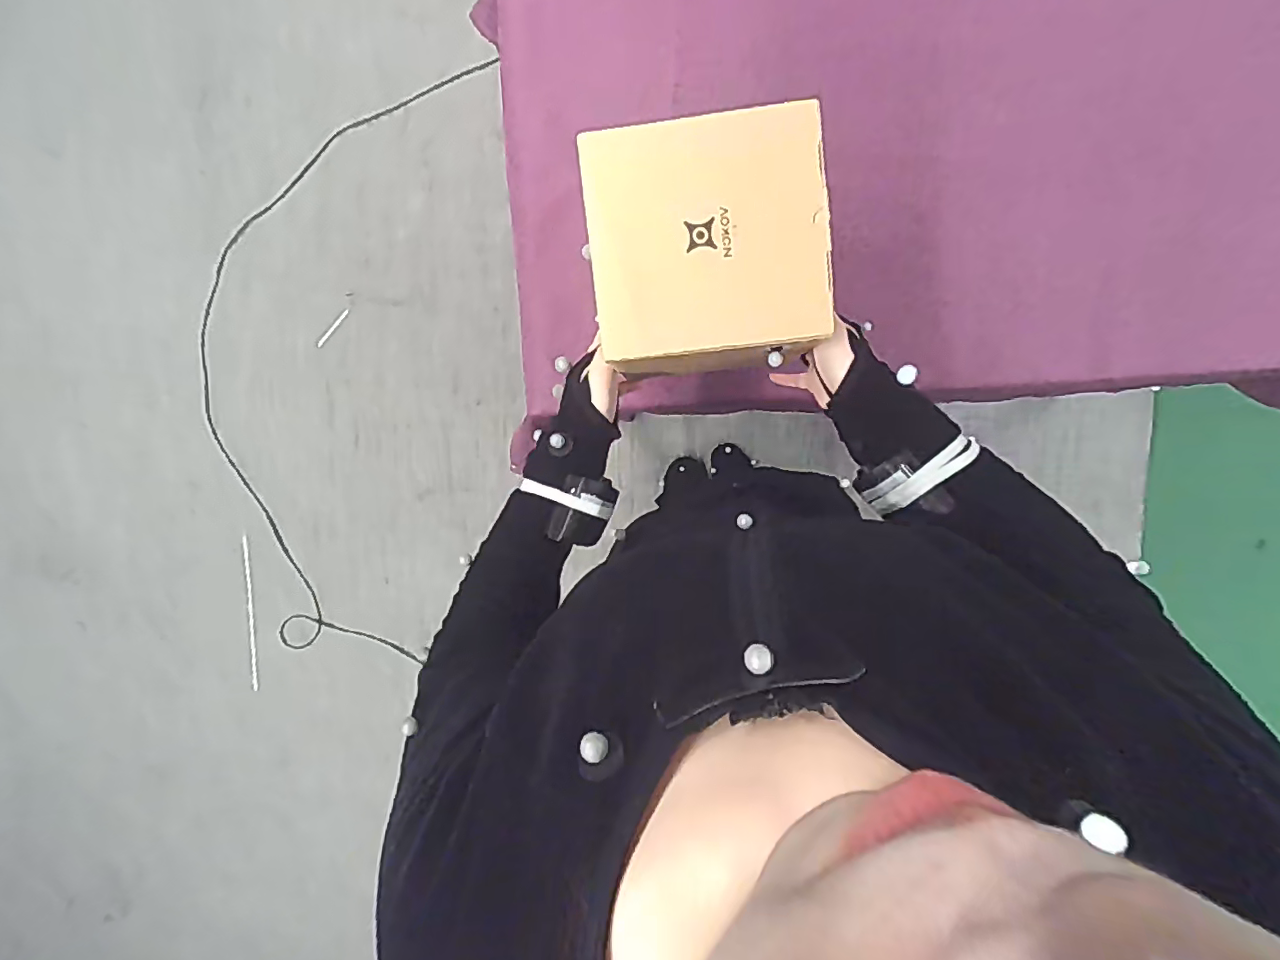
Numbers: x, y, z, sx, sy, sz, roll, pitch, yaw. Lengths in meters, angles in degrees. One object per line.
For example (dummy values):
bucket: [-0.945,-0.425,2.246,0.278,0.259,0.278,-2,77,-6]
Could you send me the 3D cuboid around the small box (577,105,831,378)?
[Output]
small box: [0.052,-0.186,0.476,0.179,0.176,0.168,-6,96,3]
